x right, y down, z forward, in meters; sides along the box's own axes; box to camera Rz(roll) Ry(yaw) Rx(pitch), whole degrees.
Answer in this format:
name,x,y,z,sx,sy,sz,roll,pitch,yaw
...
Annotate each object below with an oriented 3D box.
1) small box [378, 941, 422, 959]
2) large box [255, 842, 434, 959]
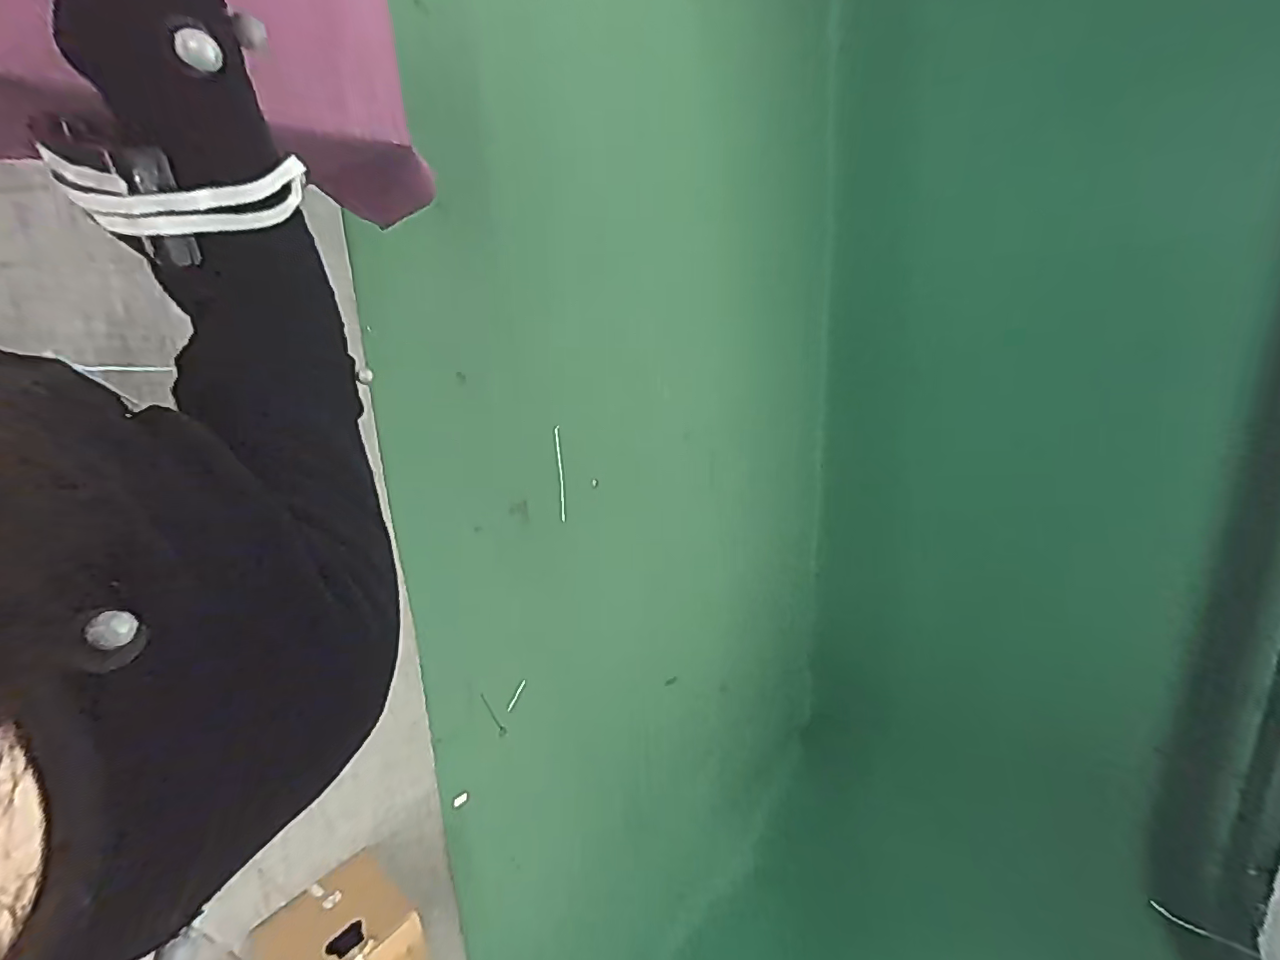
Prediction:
name,x,y,z,sx,sy,sz,roll,pitch,yaw
small box,-0.615,1.327,1.349,0.168,0.176,0.179,-6,102,-51
large box,-0.805,1.345,1.510,0.320,0.320,0.408,-22,115,-47
